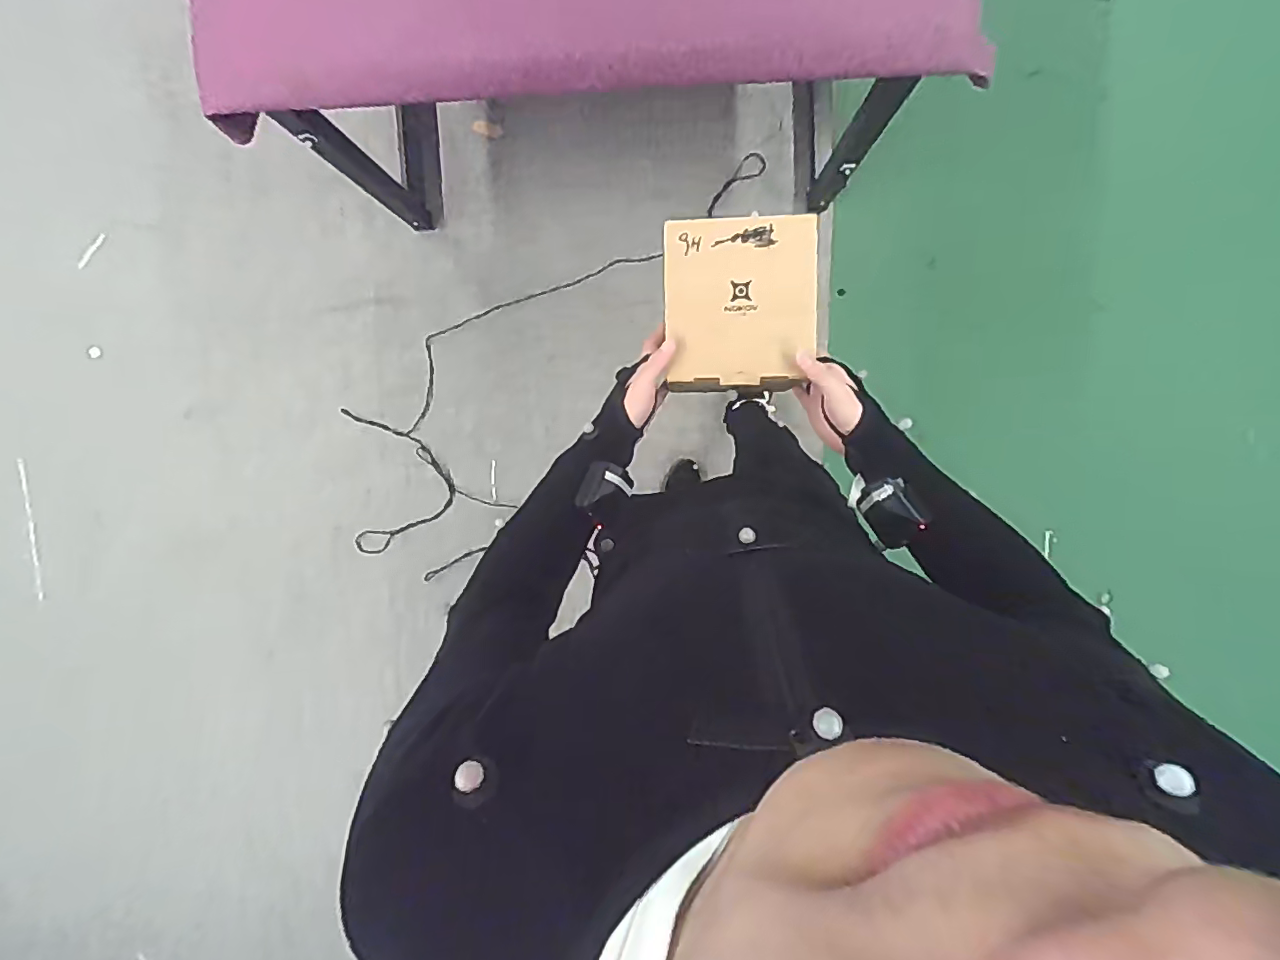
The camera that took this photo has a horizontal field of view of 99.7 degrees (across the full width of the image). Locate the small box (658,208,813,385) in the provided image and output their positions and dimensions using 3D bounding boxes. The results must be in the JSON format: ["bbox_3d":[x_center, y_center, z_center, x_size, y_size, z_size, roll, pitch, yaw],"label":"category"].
[{"bbox_3d":[0.110,-0.209,0.664,0.168,0.176,0.179,-1,96,5],"label":"small box"}]
